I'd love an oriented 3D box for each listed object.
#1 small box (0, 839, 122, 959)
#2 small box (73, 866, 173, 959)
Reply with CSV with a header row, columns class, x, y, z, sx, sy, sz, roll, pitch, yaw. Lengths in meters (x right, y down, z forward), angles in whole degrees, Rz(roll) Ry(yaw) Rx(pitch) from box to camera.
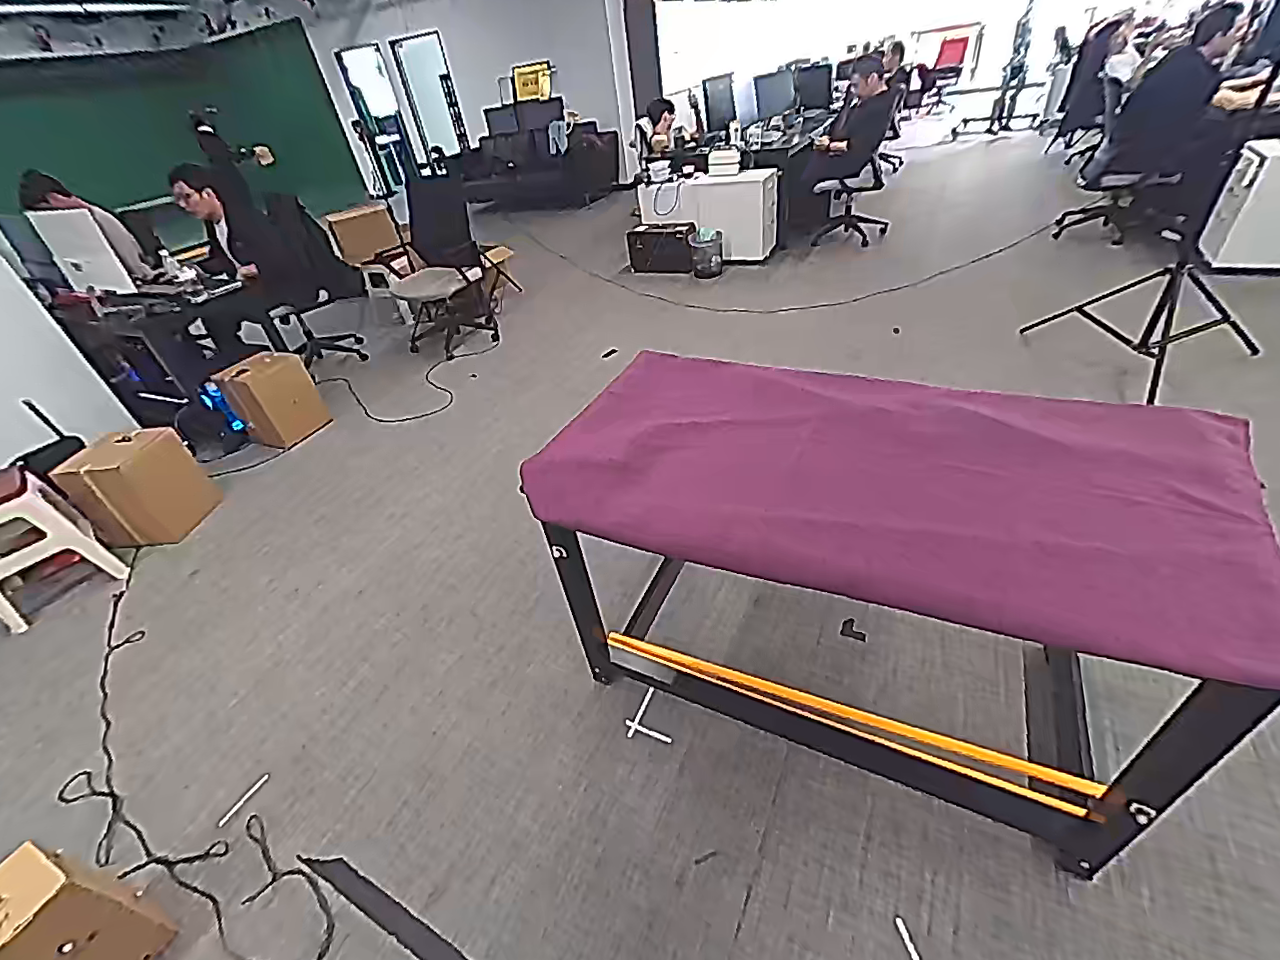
class,x,y,z,sx,sy,sz,roll,pitch,yaw
small box,-1.186,0.849,1.050,0.179,0.176,0.168,11,43,23
small box,-1.167,0.978,1.151,0.179,0.176,0.168,13,43,24
